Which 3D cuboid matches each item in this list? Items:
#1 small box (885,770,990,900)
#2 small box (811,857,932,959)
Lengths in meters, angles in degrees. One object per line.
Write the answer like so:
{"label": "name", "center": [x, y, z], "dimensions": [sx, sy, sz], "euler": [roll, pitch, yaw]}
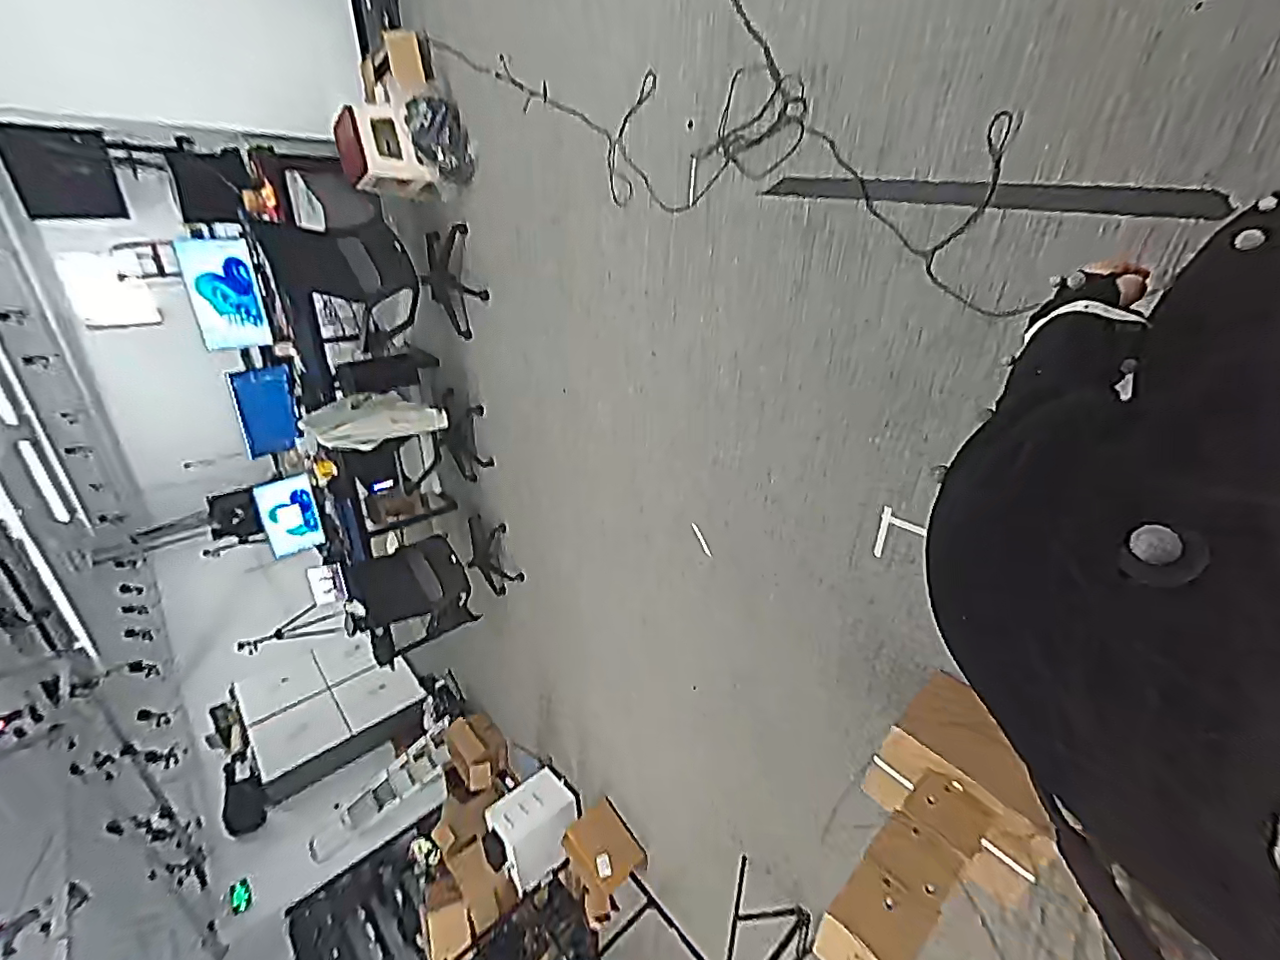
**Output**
{"label": "small box", "center": [0.744, 0.875, 1.350], "dimensions": [0.168, 0.176, 0.179], "euler": [26, 127, 42]}
{"label": "small box", "center": [0.494, 0.969, 1.156], "dimensions": [0.168, 0.176, 0.179], "euler": [28, 127, 40]}
